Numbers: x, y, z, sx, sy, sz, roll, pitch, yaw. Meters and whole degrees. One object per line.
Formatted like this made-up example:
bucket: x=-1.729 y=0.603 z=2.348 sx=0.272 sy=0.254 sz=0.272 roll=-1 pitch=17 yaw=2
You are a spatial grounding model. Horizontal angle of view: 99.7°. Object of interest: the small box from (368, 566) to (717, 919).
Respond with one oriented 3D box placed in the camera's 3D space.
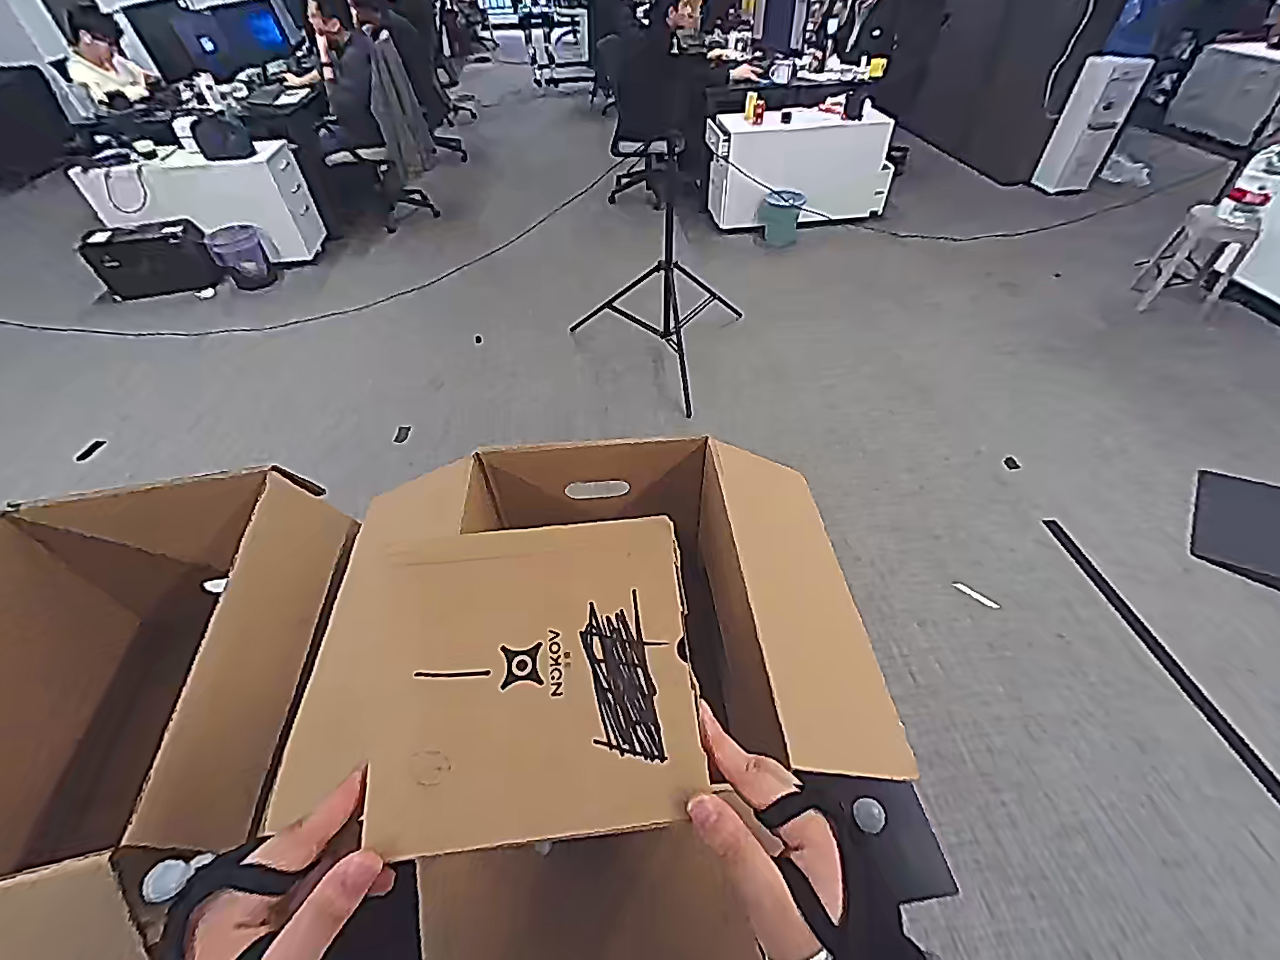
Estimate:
small box: x=-0.058 y=0.167 z=0.373 sx=0.179 sy=0.176 sz=0.168 roll=-5 pitch=64 yaw=-5
